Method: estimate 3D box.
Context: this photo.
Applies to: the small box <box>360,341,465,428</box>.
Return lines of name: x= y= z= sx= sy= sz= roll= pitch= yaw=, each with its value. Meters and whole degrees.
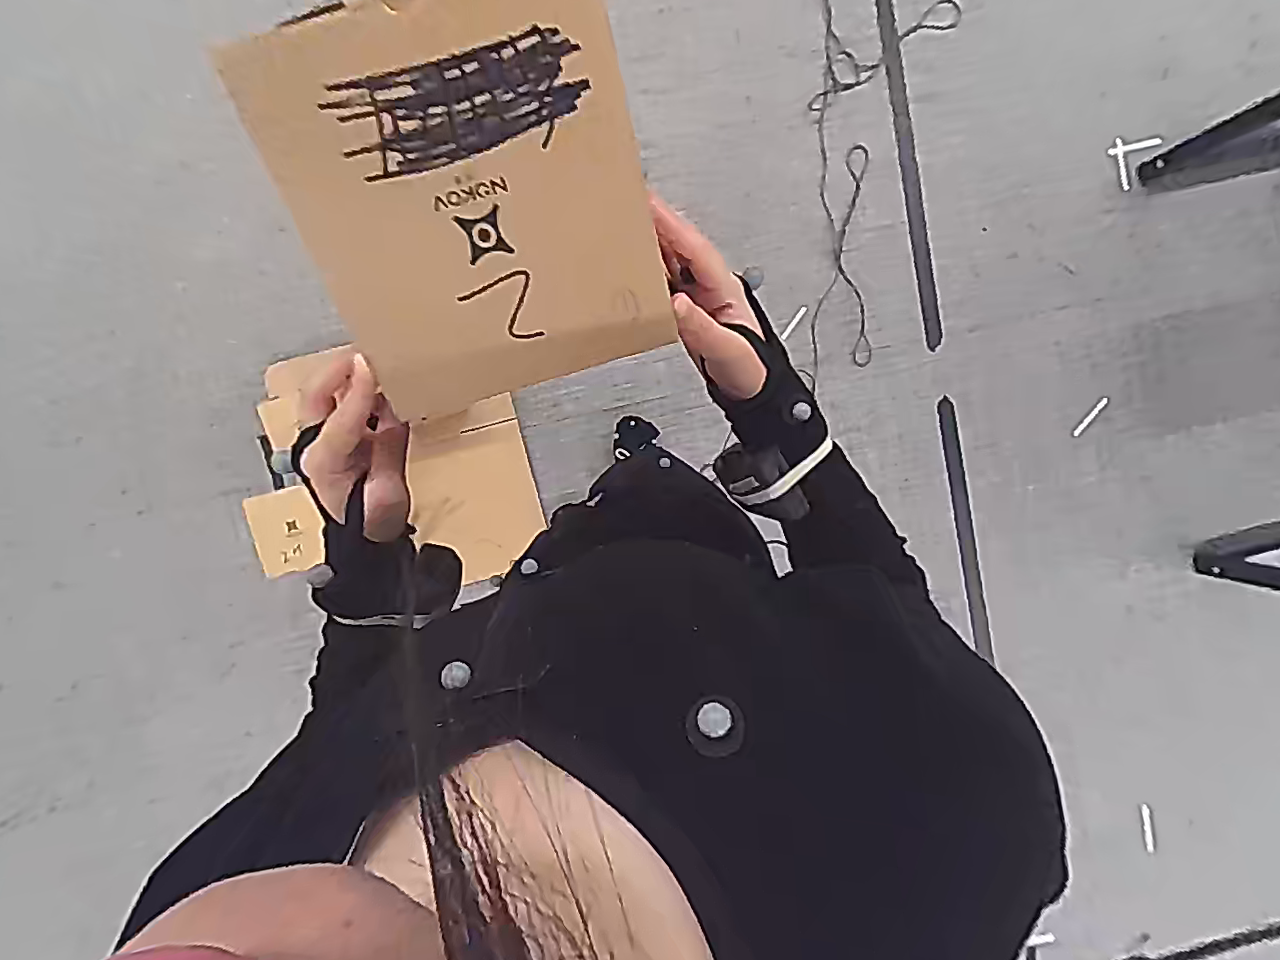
small box: x=-0.554 y=-0.232 z=1.349 sx=0.179 sy=0.176 sz=0.168 roll=-18 pitch=95 yaw=-2

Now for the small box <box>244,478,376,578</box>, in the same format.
small box: x=-0.718 y=0.097 z=1.196 sx=0.168 sy=0.176 sz=0.179 roll=-15 pitch=95 yaw=-1

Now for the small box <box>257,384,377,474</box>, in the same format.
small box: x=-0.793 y=-0.125 z=1.346 sx=0.168 sy=0.176 sz=0.179 roll=-19 pitch=96 yaw=-1

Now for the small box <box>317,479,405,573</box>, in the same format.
small box: x=-0.722 y=0.109 z=1.363 sx=0.168 sy=0.176 sz=0.179 roll=-19 pitch=96 yaw=-2
